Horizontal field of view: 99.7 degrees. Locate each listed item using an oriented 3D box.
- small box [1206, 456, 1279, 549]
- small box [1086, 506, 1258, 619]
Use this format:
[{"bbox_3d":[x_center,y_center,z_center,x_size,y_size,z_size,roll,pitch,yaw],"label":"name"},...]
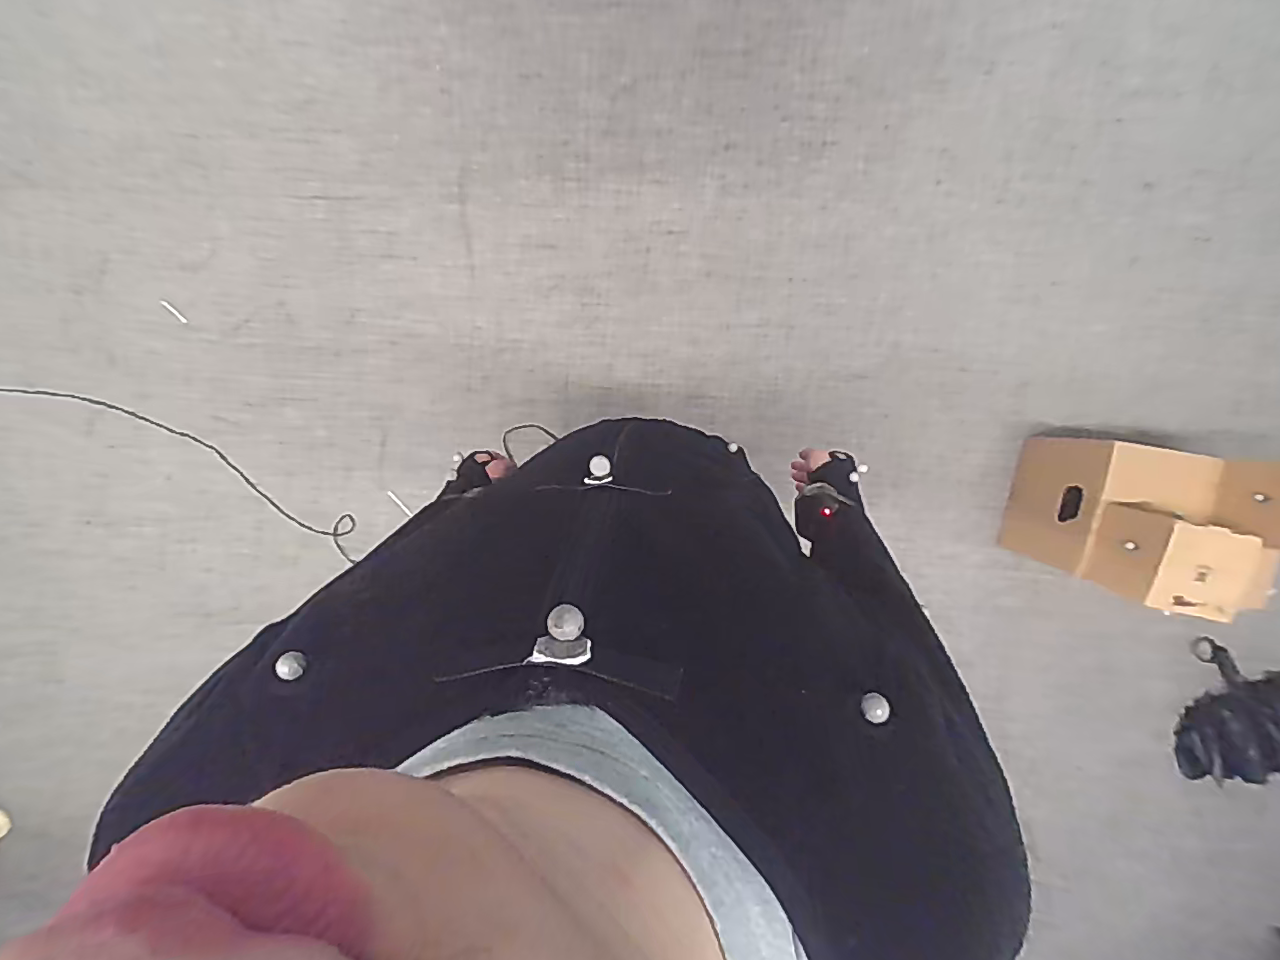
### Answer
[{"bbox_3d":[1.311,0.052,1.084,0.168,0.176,0.179,11,93,2],"label":"small box"},{"bbox_3d":[1.072,0.159,1.107,0.168,0.176,0.179,11,98,1],"label":"small box"}]
